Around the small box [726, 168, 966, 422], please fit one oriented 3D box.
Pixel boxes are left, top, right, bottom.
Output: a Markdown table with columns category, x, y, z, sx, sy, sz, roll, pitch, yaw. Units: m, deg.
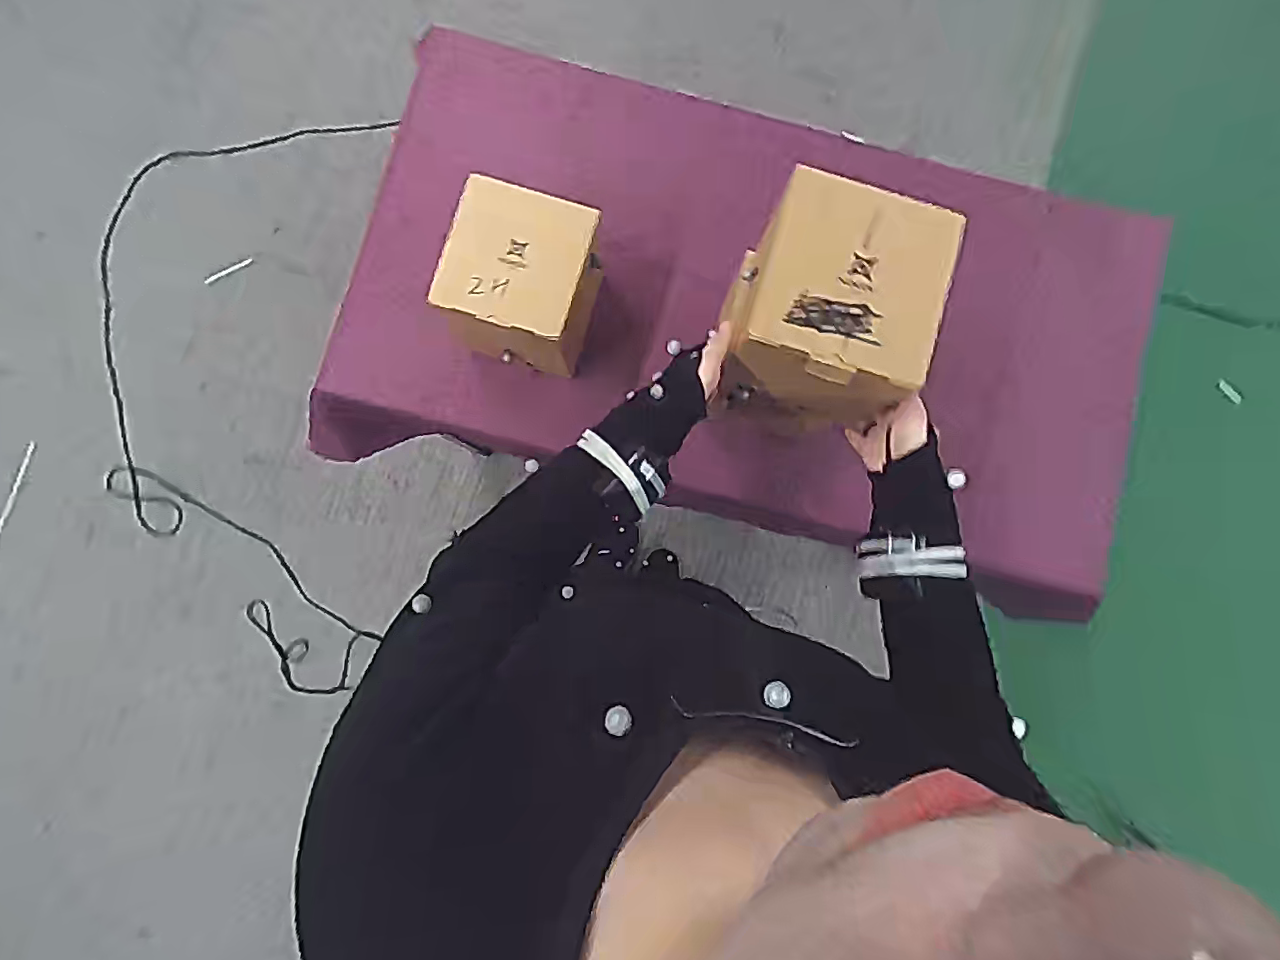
| category | x | y | z | sx | sy | sz | roll | pitch | yaw |
| --- | --- | --- | --- | --- | --- | --- | --- | --- | --- |
| small box | 0.198 | -0.176 | 0.570 | 0.168 | 0.176 | 0.179 | 17 | 83 | 0 |

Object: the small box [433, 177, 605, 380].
| category | x | y | z | sx | sy | sz | roll | pitch | yaw |
| --- | --- | --- | --- | --- | --- | --- | --- | --- | --- |
| small box | -0.150 | -0.259 | 0.733 | 0.168 | 0.176 | 0.179 | 17 | 84 | 0 |
